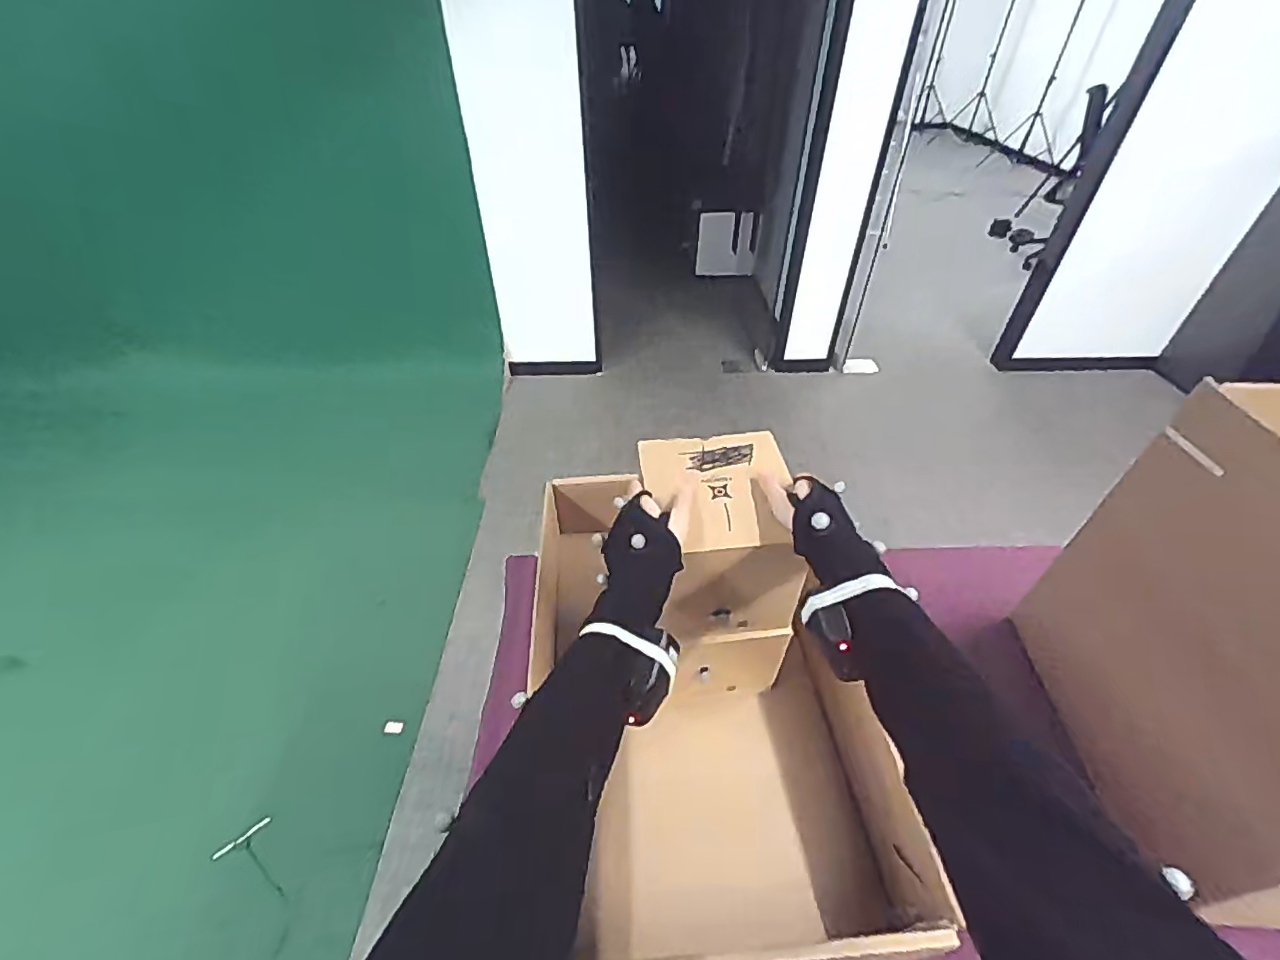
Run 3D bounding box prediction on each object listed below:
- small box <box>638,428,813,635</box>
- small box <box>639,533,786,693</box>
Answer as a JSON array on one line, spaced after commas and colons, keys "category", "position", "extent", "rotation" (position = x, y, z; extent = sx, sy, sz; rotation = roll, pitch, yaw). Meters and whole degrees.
[{"category": "small box", "position": [0.087, 0.061, 0.650], "extent": [0.168, 0.176, 0.179], "rotation": [-6, 46, -2]}, {"category": "small box", "position": [0.091, 0.182, 0.760], "extent": [0.168, 0.176, 0.179], "rotation": [-6, 45, -4]}]
